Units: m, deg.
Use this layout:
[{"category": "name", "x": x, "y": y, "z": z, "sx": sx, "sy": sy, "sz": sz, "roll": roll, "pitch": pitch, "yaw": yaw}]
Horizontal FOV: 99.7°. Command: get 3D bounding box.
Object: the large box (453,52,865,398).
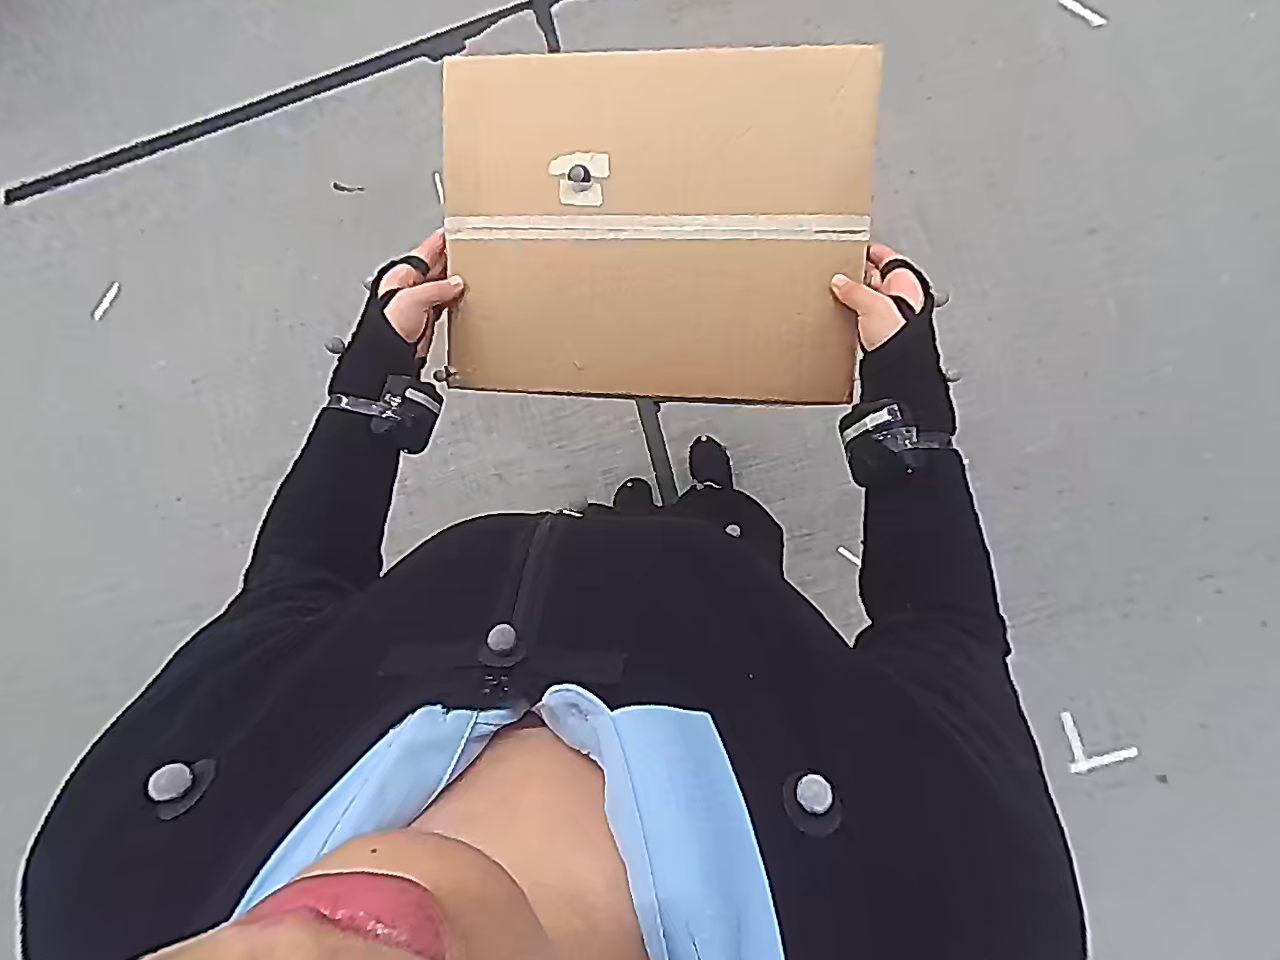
[{"category": "large box", "x": 0.027, "y": -0.260, "z": 0.678, "sx": 0.408, "sy": 0.320, "sz": 0.320, "roll": 2, "pitch": 96, "yaw": 6}]
